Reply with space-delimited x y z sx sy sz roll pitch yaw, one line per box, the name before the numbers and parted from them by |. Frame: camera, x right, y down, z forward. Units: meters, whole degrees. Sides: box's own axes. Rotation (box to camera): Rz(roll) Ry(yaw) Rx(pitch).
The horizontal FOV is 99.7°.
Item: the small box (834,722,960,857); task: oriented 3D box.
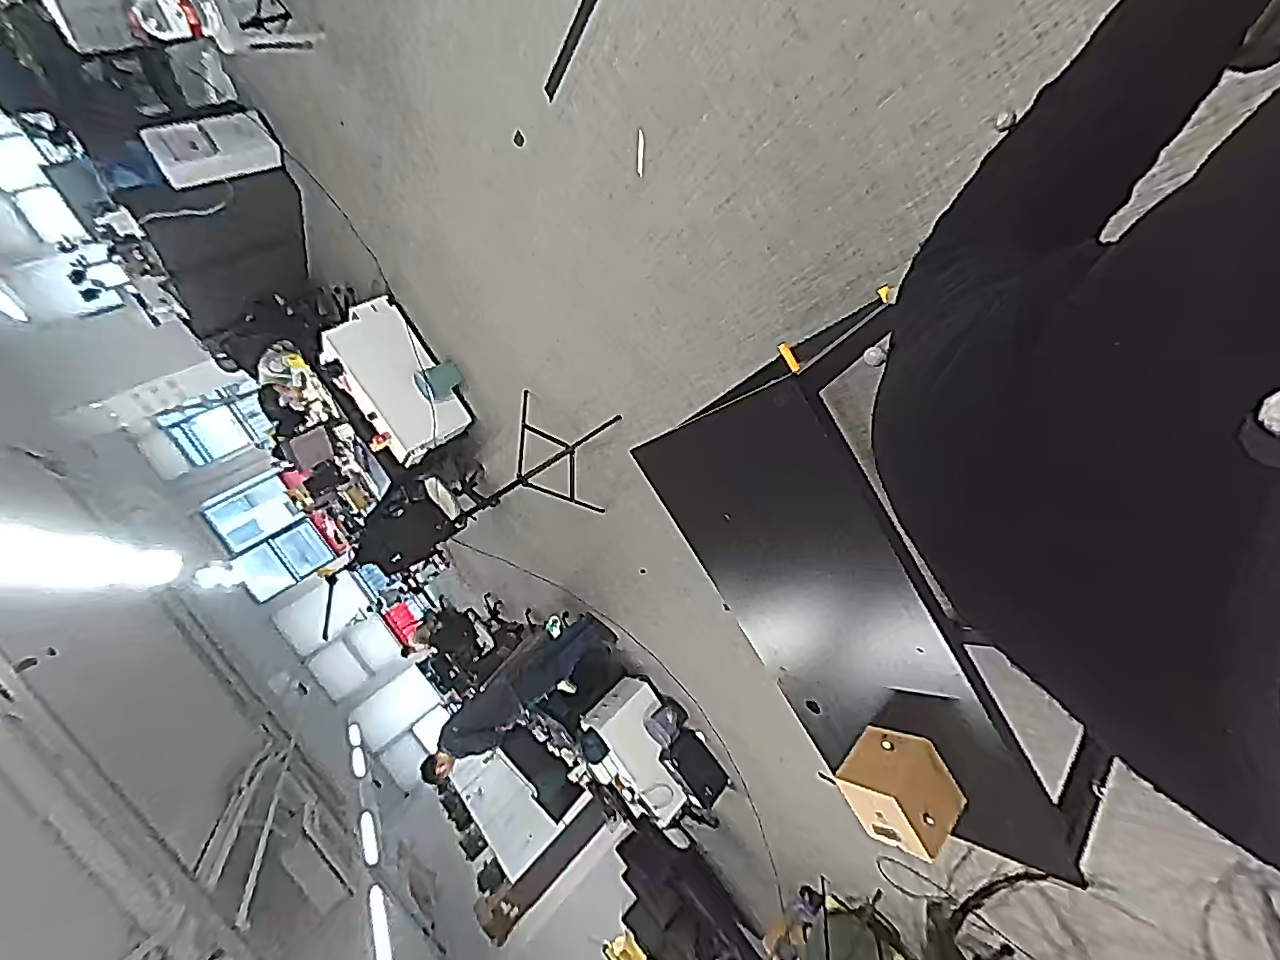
small box | 0.588 0.693 1.233 0.179 0.176 0.168 58 150 -5
